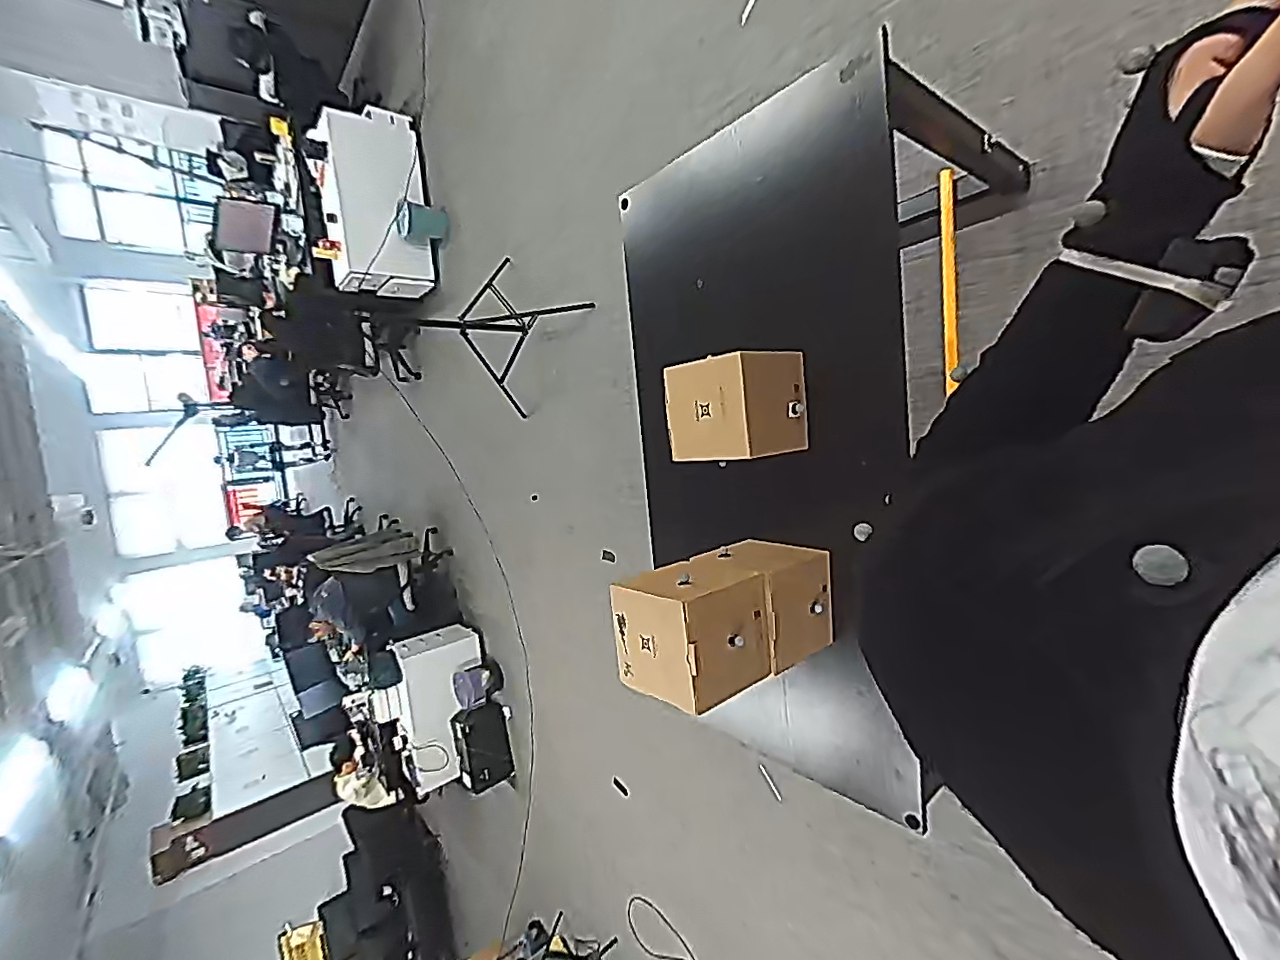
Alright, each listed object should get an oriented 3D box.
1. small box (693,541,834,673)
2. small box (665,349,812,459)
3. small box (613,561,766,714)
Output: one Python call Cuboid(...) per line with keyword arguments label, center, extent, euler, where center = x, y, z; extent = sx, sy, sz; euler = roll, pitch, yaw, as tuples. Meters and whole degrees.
Cuboid(label="small box", center=(0.214, 0.207, 0.944), extent=(0.179, 0.176, 0.168), euler=(4, 101, 50))
Cuboid(label="small box", center=(0.169, -0.127, 0.931), extent=(0.179, 0.176, 0.168), euler=(-1, 99, 50))
Cuboid(label="small box", center=(0.083, 0.231, 0.849), extent=(0.179, 0.176, 0.168), euler=(-1, 97, 50))
